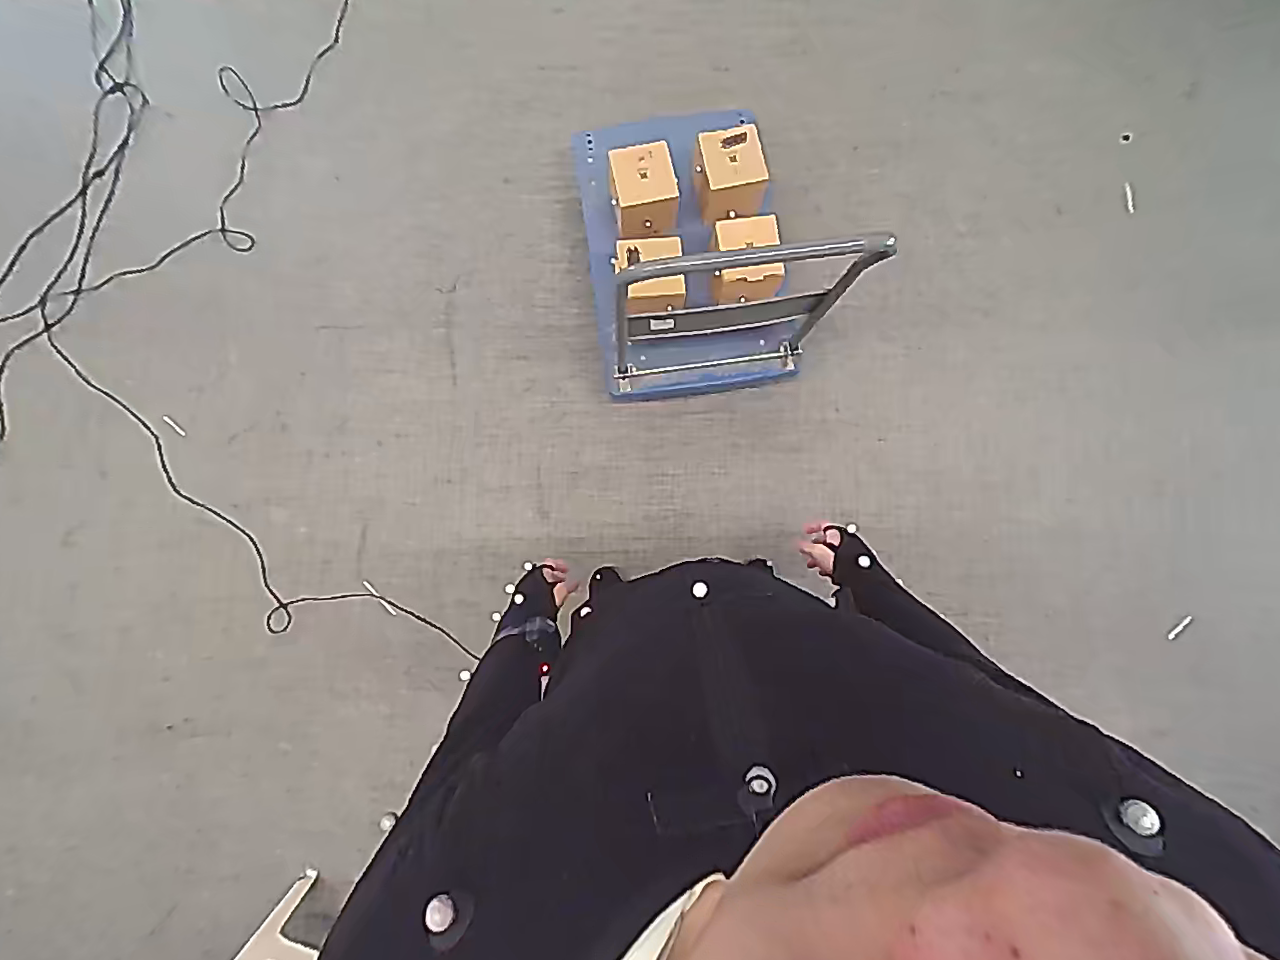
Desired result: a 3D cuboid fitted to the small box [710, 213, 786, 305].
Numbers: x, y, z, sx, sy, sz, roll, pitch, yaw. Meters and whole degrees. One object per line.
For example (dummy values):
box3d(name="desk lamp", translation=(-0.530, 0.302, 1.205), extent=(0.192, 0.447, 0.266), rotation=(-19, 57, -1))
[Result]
box3d(name="small box", translation=(0.298, -0.620, 1.531), extent=(0.168, 0.176, 0.179), rotation=(-7, 82, -1))

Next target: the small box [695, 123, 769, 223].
box3d(name="small box", translation=(0.260, -0.885, 1.569), extent=(0.168, 0.176, 0.179), rotation=(-11, 83, 0))

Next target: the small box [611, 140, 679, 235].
box3d(name="small box", translation=(0.014, -0.833, 1.563), extent=(0.168, 0.176, 0.179), rotation=(-11, 82, -2))
